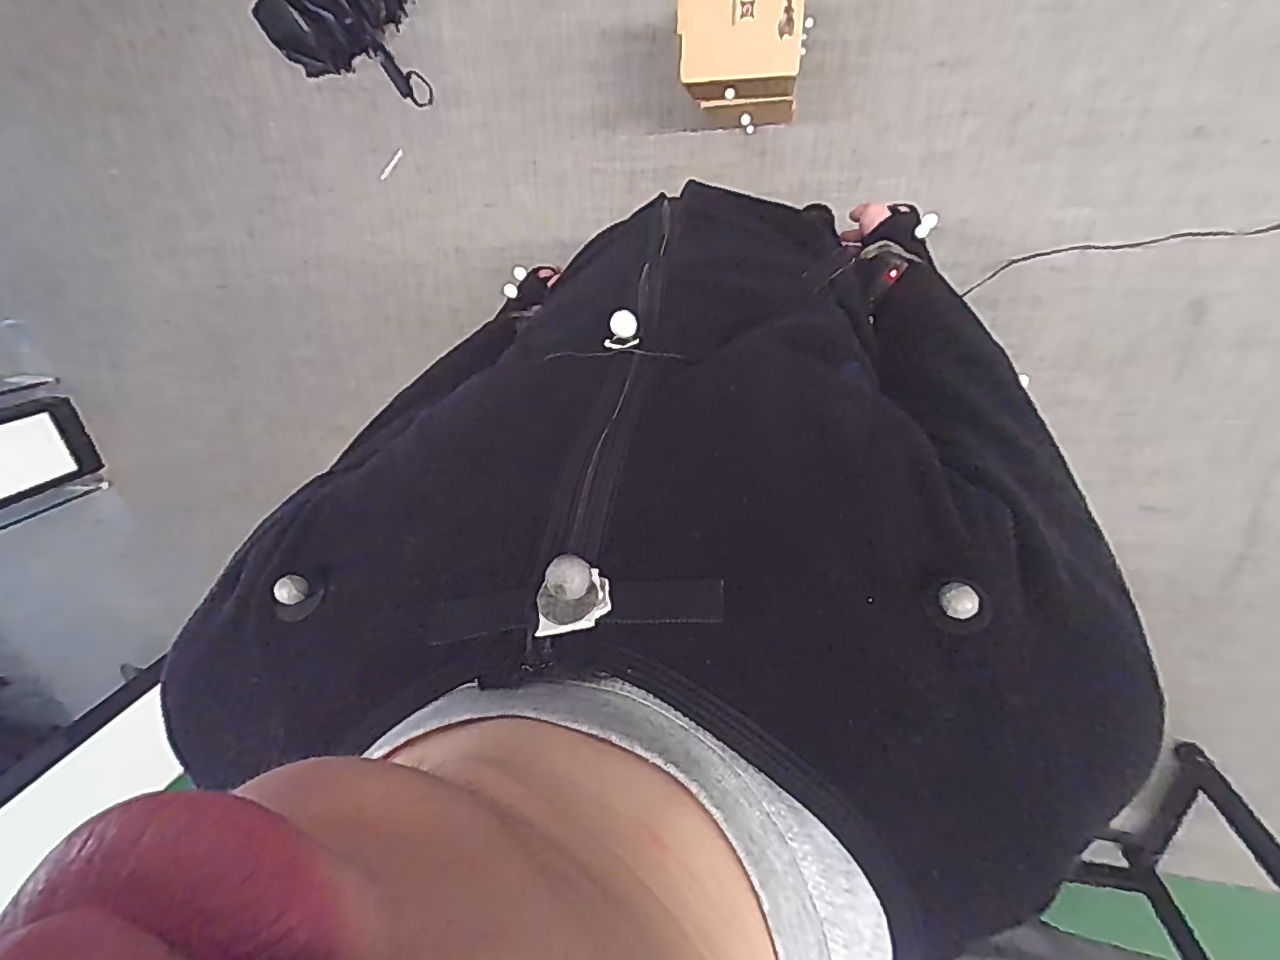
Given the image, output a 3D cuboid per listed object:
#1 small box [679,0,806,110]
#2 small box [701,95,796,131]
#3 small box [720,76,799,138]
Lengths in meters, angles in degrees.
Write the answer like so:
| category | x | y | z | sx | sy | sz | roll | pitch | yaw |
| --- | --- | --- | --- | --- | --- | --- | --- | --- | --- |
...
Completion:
| category | x | y | z | sx | sy | sz | roll | pitch | yaw |
| --- | --- | --- | --- | --- | --- | --- | --- | --- | --- |
| small box | 0.162 | -0.690 | 0.842 | 0.179 | 0.176 | 0.168 | 5 | 117 | 12 |
| small box | 0.201 | -0.757 | 0.986 | 0.168 | 0.176 | 0.179 | 3 | 116 | 13 |
| small box | 0.243 | -0.832 | 1.127 | 0.168 | 0.176 | 0.179 | 2 | 117 | 13 |
